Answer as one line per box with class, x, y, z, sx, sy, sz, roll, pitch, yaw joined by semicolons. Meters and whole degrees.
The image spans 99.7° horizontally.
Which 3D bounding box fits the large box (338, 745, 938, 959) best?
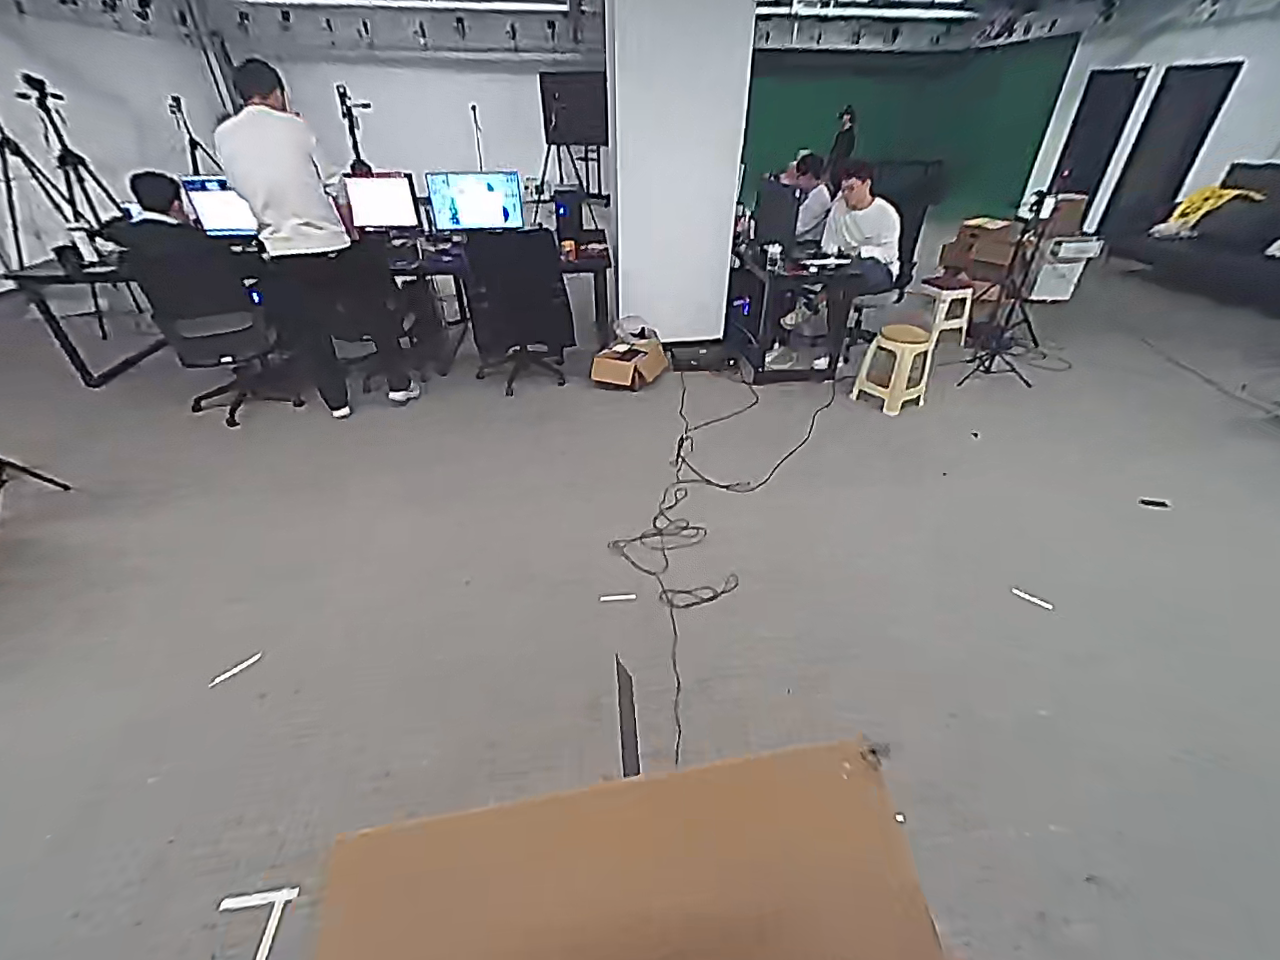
large box;0.002;0.447;0.458;0.408;0.320;0.320;-6;59;-9
